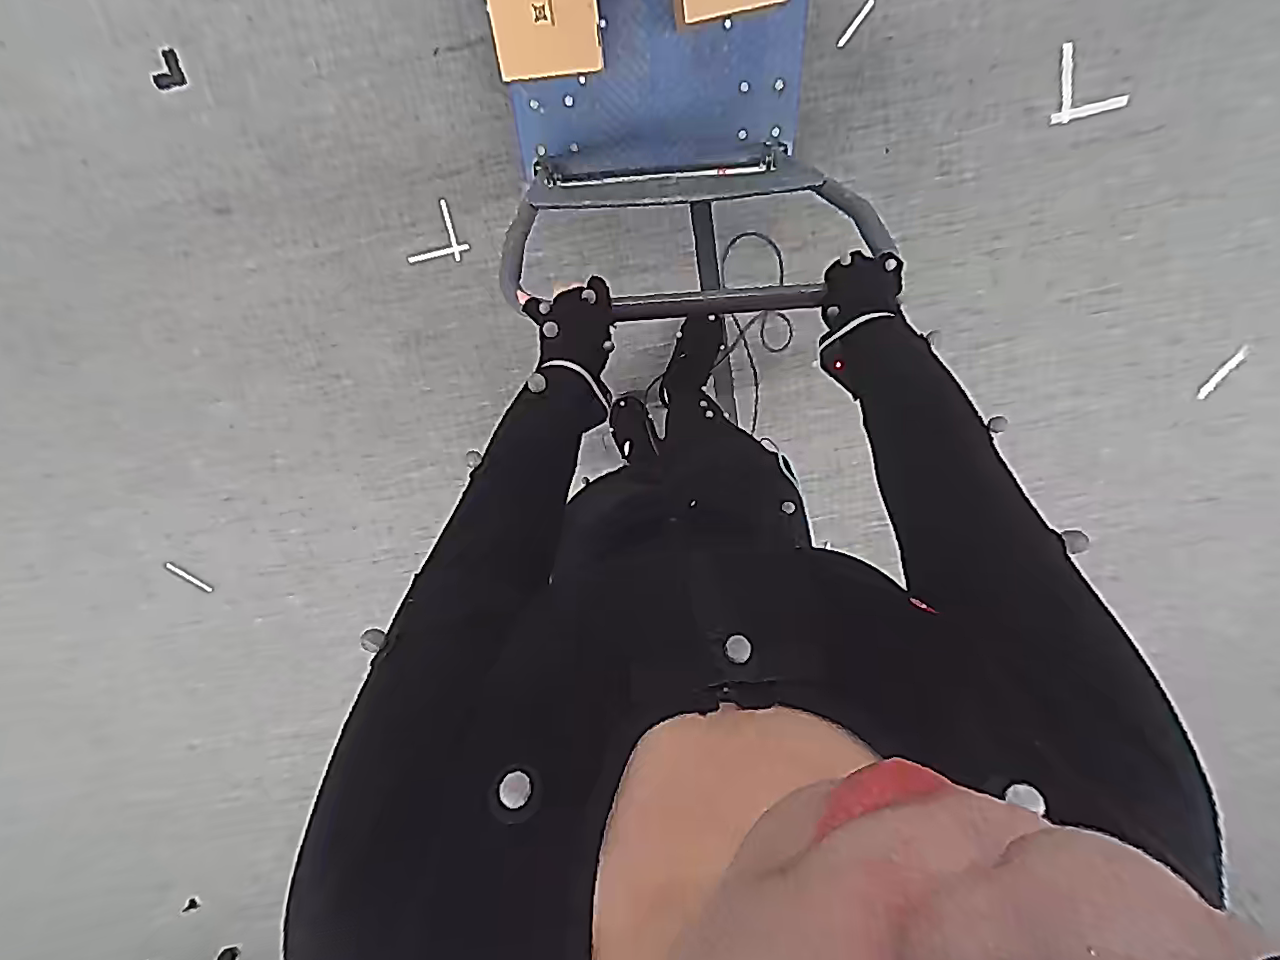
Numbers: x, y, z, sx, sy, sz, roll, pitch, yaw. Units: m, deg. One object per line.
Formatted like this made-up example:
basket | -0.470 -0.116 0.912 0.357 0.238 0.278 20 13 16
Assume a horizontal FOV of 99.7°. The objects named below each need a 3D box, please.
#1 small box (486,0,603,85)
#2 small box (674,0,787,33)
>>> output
small box | -0.161 -0.800 0.941 0.179 0.176 0.168 -7 125 1
small box | 0.141 -0.871 0.901 0.179 0.176 0.168 -9 125 4
